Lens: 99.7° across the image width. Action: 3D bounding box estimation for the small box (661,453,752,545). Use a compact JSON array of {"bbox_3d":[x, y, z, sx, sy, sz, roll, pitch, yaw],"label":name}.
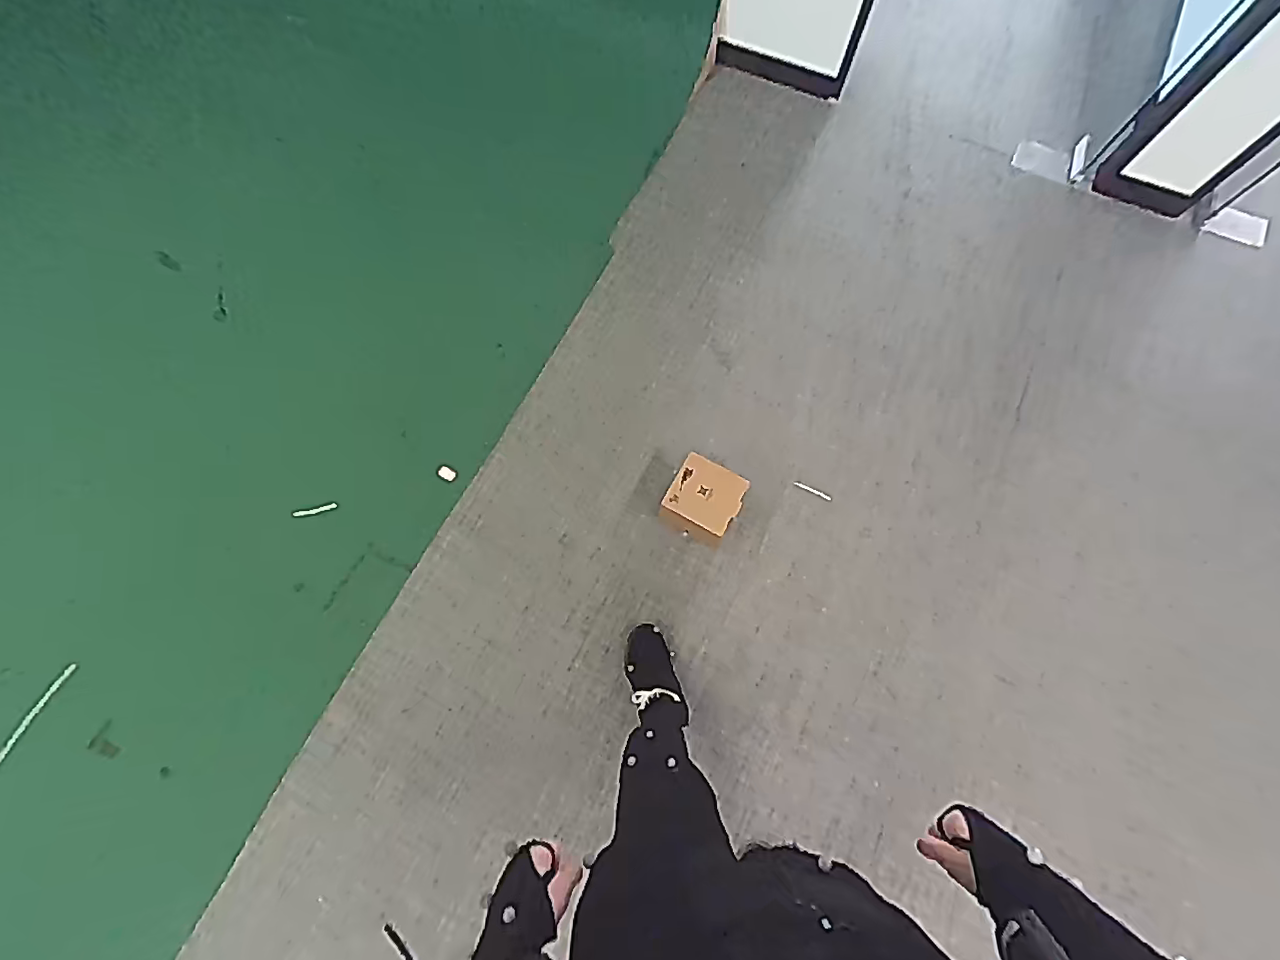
[{"bbox_3d":[0.170,0.059,1.431,0.179,0.176,0.168,28,75,8],"label":"small box"}]
